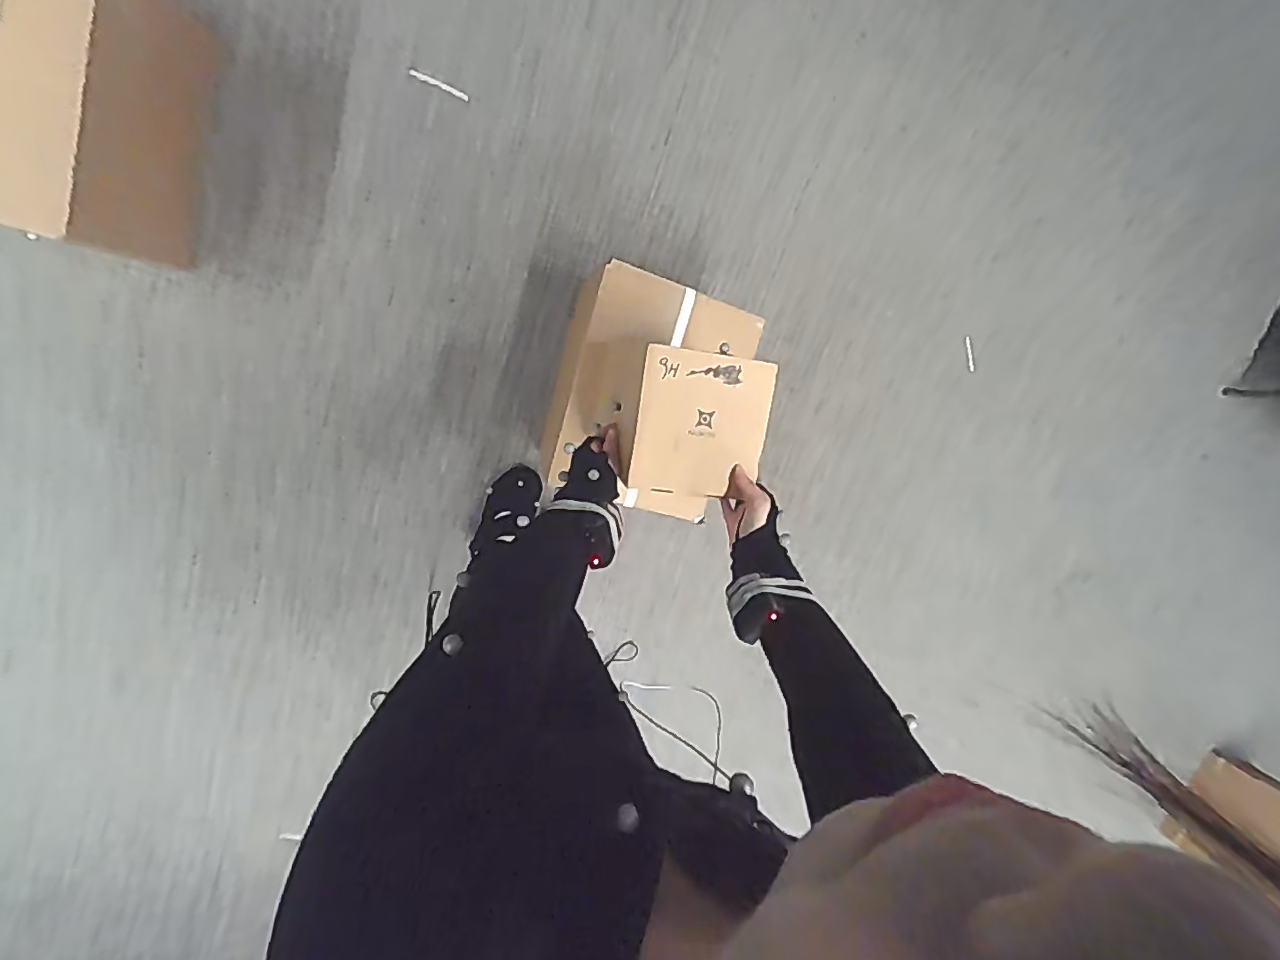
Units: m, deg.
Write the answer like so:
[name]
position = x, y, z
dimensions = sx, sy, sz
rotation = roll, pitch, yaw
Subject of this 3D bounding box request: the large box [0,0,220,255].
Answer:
[large box]
position = -0.889, -0.599, 0.789
dimensions = 0.320, 0.320, 0.408
rotation = 15, 100, -17

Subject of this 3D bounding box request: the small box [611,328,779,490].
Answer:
[small box]
position = 0.060, -0.101, 0.723
dimensions = 0.168, 0.176, 0.179
rotation = 6, 104, -13
